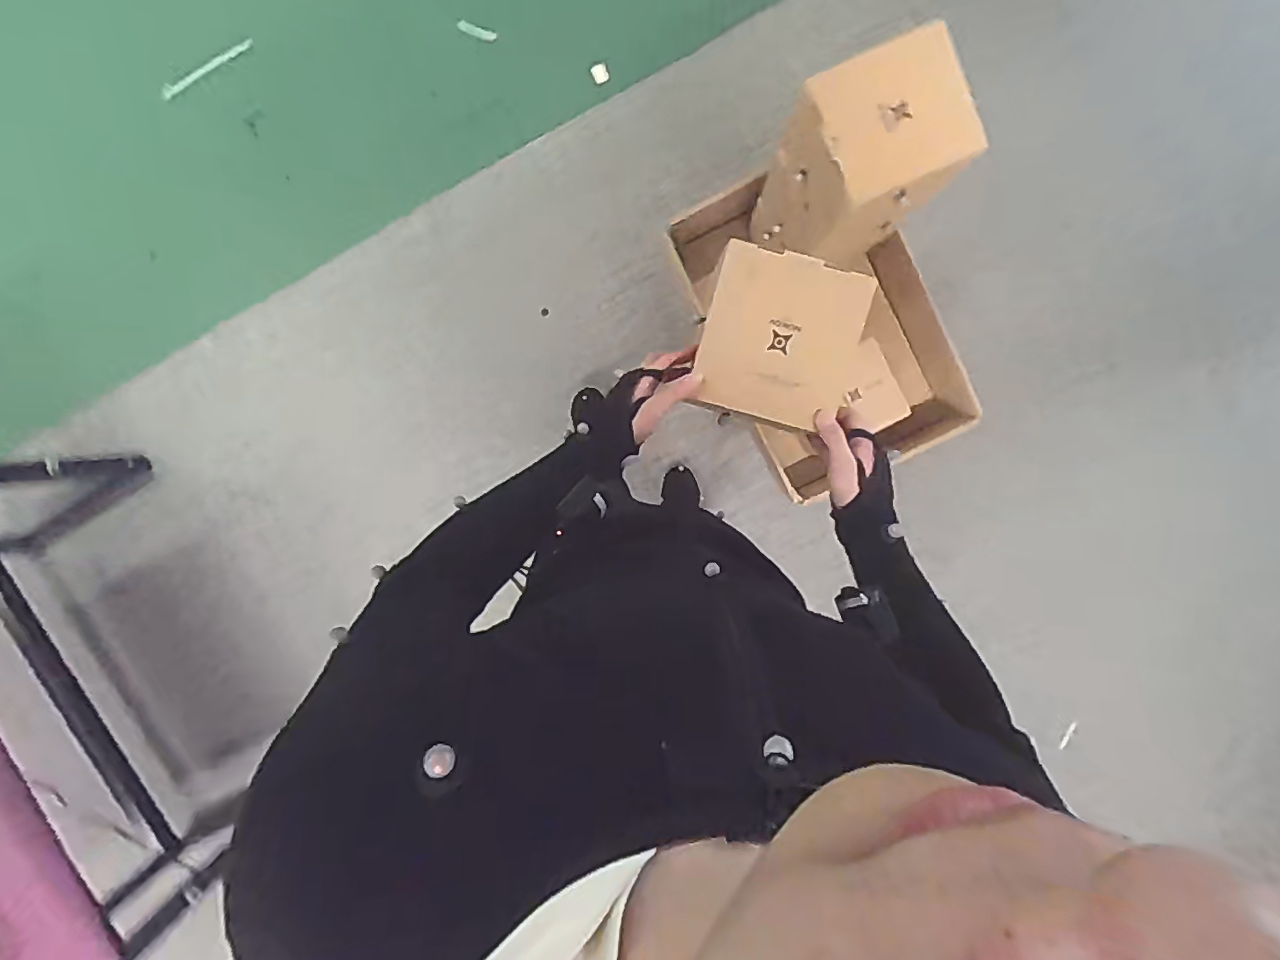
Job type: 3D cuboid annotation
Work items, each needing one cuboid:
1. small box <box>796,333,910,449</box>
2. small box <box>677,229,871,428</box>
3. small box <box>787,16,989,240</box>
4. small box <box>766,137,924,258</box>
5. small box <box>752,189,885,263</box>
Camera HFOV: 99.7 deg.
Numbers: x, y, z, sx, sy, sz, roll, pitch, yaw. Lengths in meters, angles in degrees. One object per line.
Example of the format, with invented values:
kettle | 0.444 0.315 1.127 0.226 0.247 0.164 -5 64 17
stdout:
small box | 0.397 -0.170 1.089 0.179 0.176 0.168 -27 93 4
small box | 0.145 -0.169 0.656 0.168 0.176 0.179 15 97 -1
small box | 0.324 -0.461 0.741 0.179 0.176 0.168 -21 94 5
small box | 0.330 -0.479 0.903 0.179 0.176 0.168 -22 93 5
small box | 0.340 -0.493 1.064 0.179 0.176 0.168 -25 92 5
